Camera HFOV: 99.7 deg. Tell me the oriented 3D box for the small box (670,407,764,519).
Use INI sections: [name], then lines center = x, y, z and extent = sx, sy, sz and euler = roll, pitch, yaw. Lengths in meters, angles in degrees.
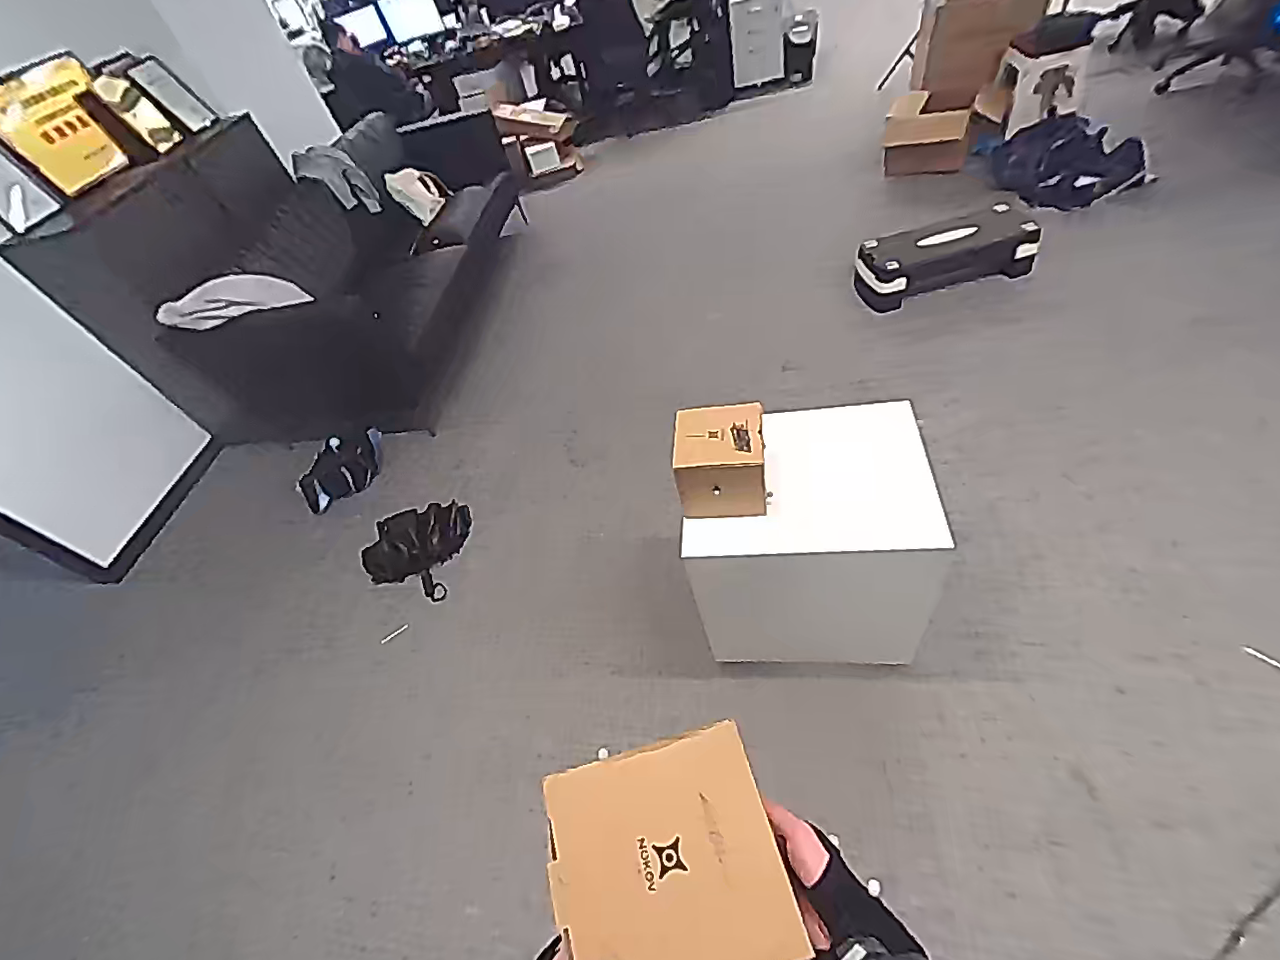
[small box]
center = 0.168, -0.031, 1.132
extent = 0.179, 0.176, 0.168
euler = -4, 49, 14
